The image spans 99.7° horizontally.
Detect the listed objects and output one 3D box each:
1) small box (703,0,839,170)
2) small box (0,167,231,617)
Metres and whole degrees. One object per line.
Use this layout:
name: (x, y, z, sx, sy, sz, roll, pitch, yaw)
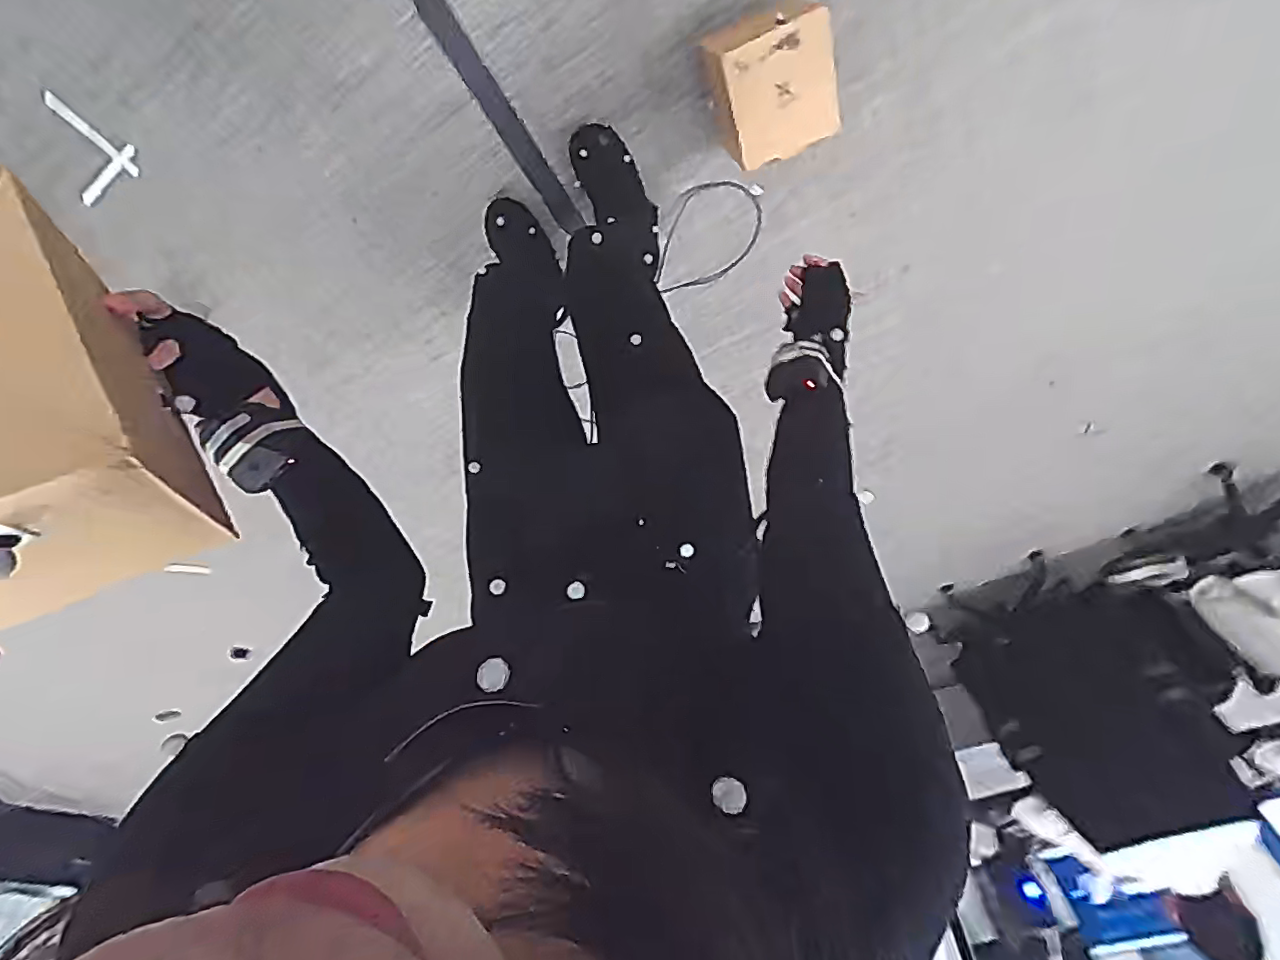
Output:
small box: (0.217, -0.667, 0.907, 0.168, 0.176, 0.179, -20, 135, 10)
small box: (-0.365, -0.034, 0.284, 0.168, 0.179, 0.176, -26, 171, -26)
